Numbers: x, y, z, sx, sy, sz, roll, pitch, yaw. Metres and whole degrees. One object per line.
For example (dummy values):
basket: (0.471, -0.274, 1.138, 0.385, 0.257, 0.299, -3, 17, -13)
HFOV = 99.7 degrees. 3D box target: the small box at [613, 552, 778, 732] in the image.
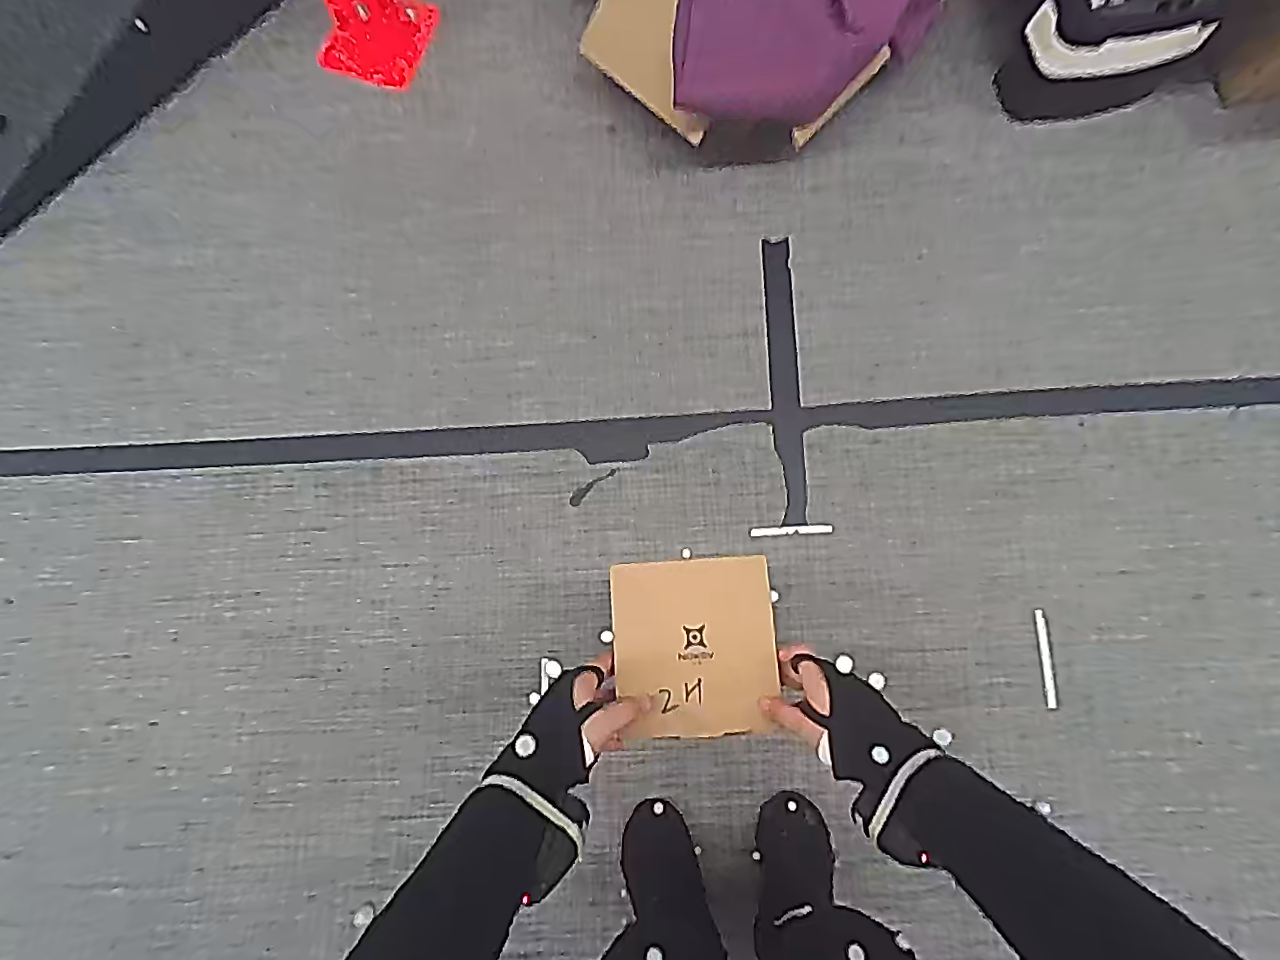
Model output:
small box: (0.055, 0.181, 0.638, 0.168, 0.176, 0.179, -3, 80, 1)
